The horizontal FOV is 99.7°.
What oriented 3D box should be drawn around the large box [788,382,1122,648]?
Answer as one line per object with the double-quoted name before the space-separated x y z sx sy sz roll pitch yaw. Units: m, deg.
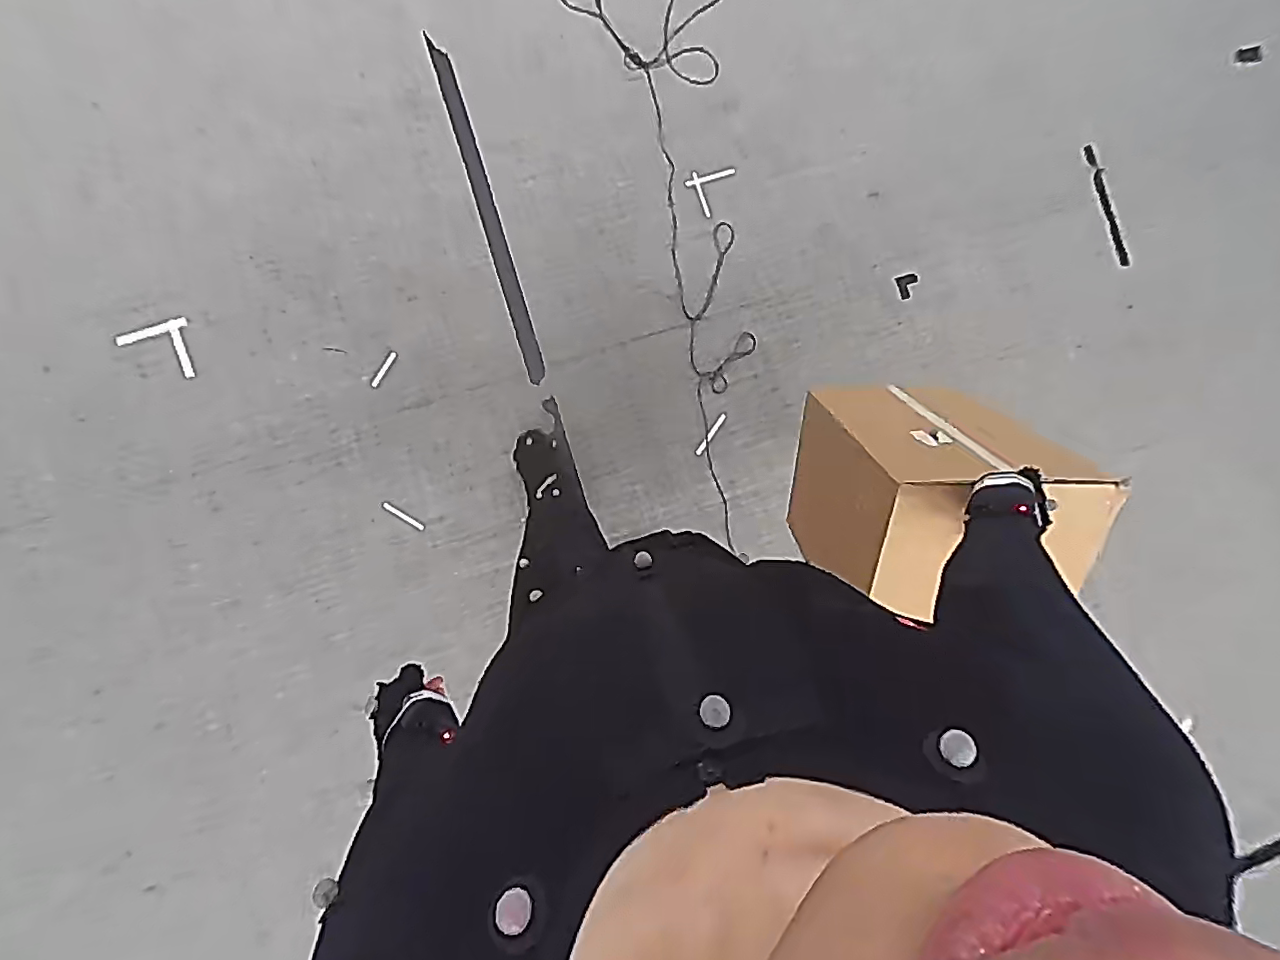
"large box" 0.489 0.041 0.967 0.320 0.408 0.320 0 120 -2
